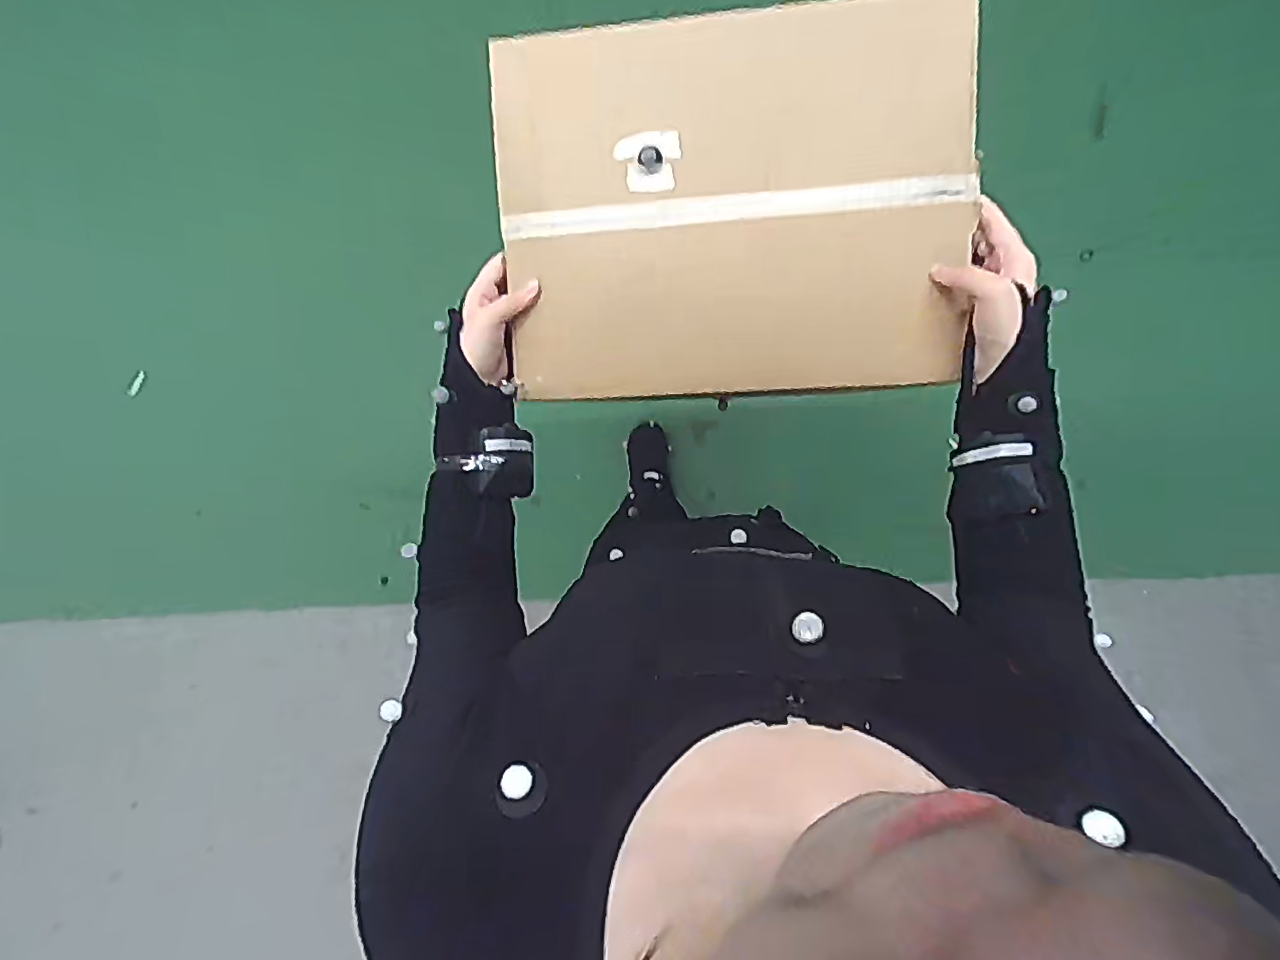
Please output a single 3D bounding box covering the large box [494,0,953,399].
[{"bbox_3d":[0.090,-0.262,0.635,0.408,0.320,0.320,-2,97,8],"label":"large box"}]
